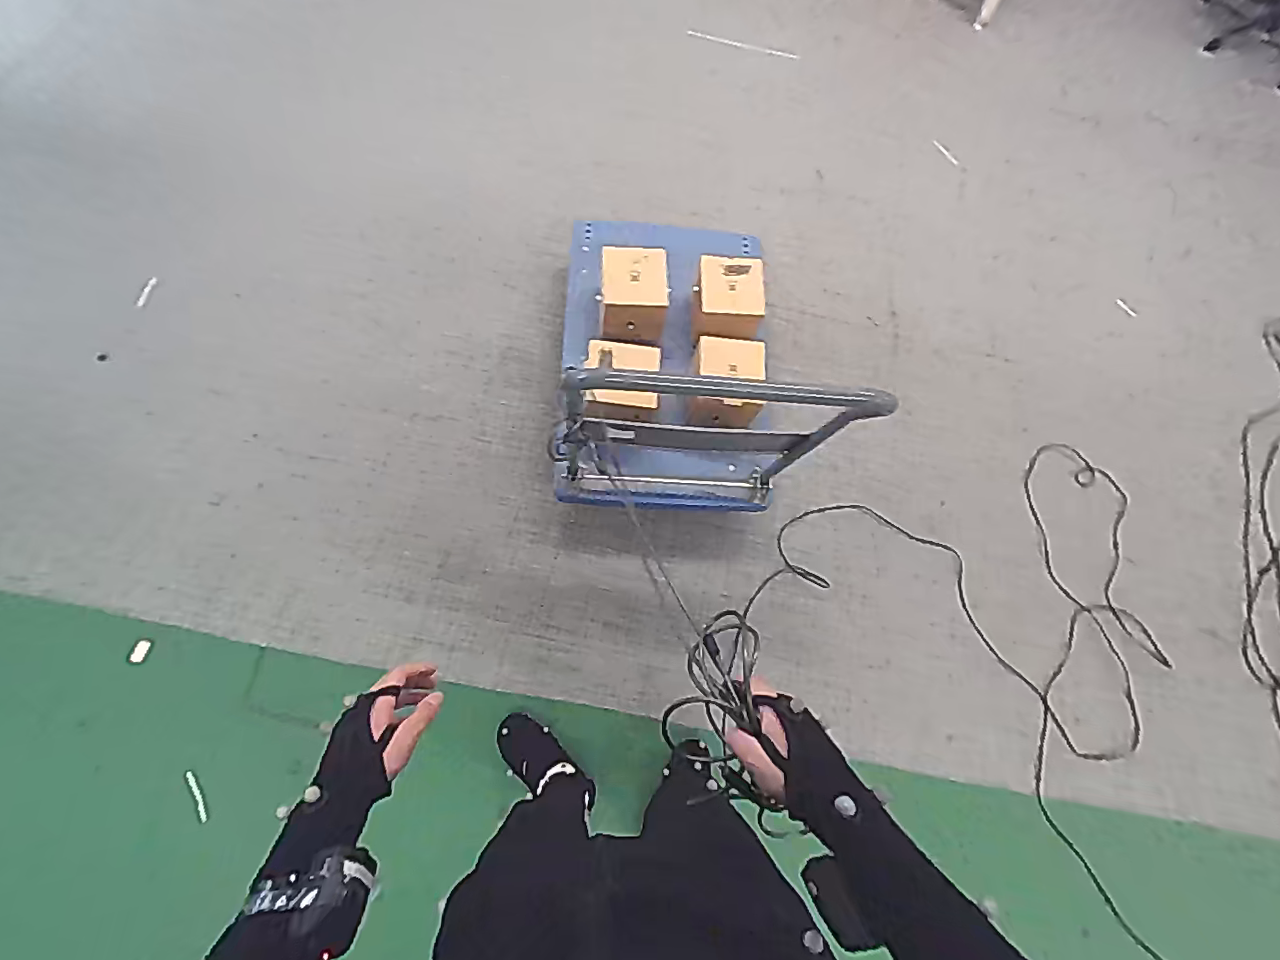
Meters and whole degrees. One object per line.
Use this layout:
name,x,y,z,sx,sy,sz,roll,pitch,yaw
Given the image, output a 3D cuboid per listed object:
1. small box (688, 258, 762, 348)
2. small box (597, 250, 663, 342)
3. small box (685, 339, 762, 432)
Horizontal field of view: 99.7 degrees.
small box,0.225,-0.477,1.478,0.168,0.176,0.179,1,74,-5
small box,-0.031,-0.489,1.455,0.168,0.176,0.179,0,73,-7
small box,0.213,-0.242,1.406,0.168,0.176,0.179,4,73,-4
